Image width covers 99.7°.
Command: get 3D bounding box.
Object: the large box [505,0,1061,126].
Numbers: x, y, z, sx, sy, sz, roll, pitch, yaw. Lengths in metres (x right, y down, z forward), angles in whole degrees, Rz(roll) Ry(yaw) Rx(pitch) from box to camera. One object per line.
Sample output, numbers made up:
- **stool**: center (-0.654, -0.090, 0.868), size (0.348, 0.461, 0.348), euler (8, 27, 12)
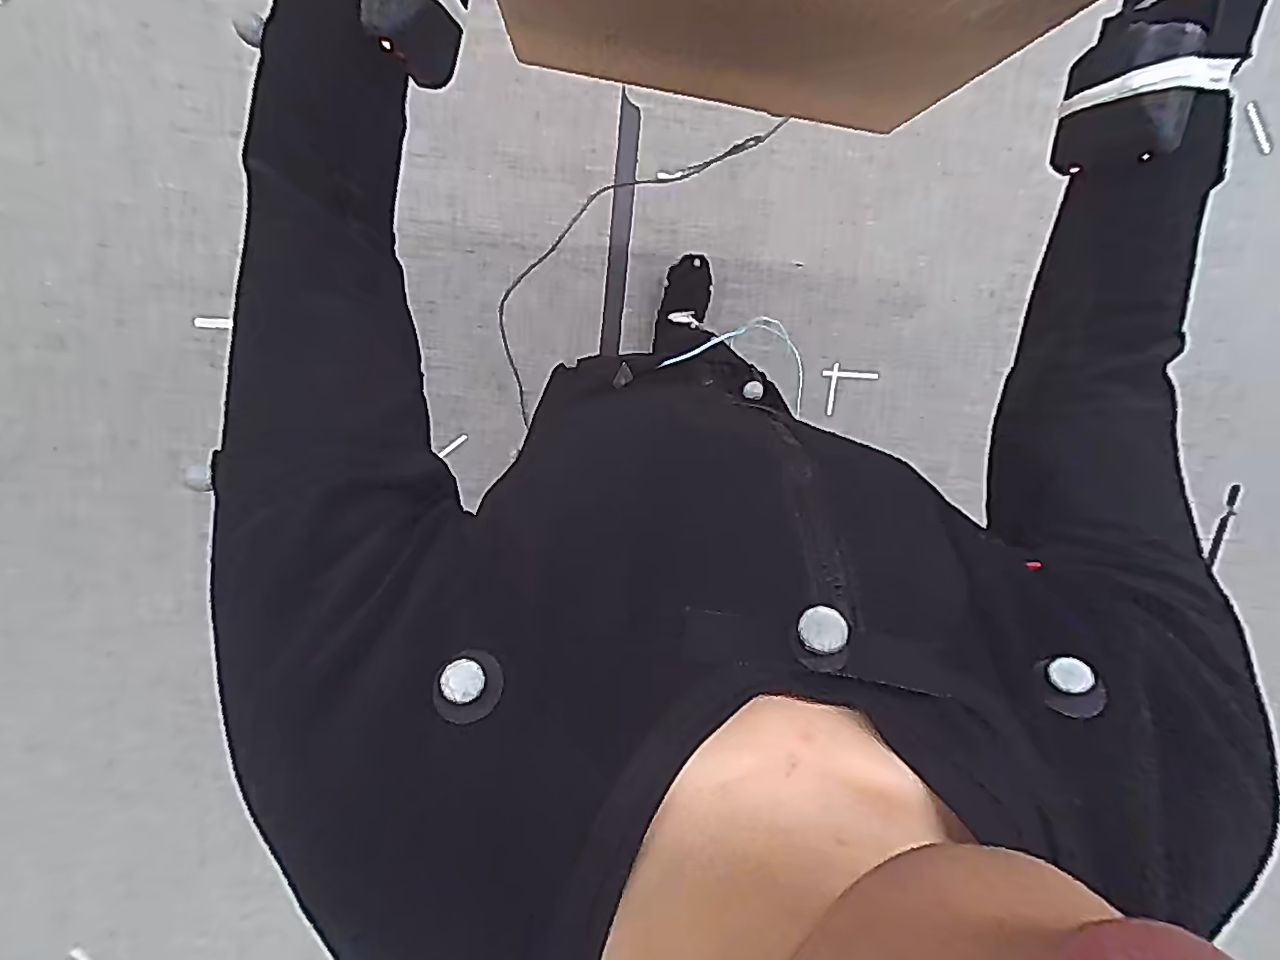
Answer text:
- **large box**: center (0.102, -0.512, 0.396), size (0.408, 0.320, 0.320), euler (6, 107, -7)
